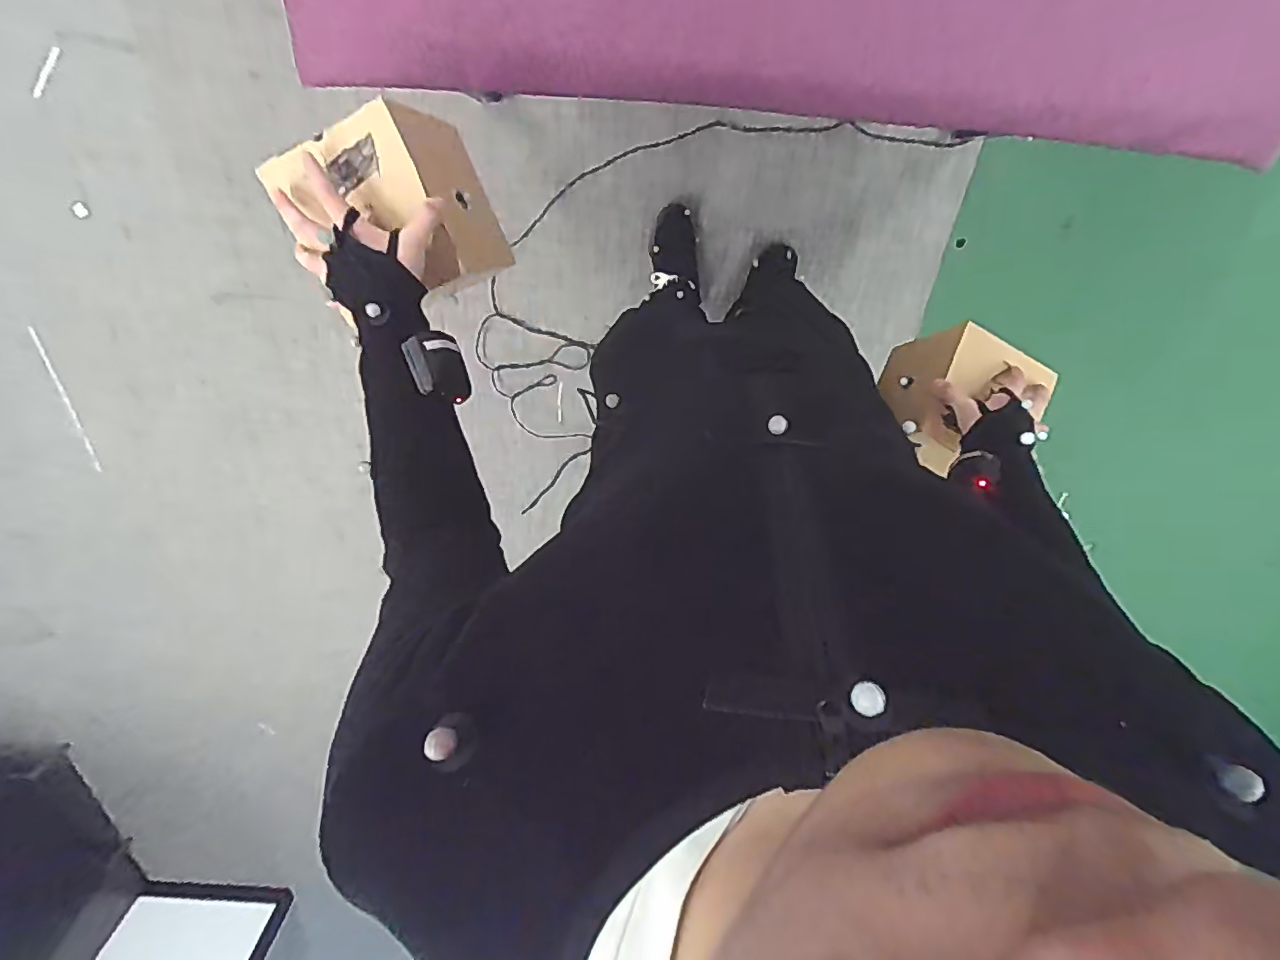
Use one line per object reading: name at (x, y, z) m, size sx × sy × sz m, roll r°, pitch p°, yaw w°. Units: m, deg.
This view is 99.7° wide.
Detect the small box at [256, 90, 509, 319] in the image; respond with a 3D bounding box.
small box at (-0.282, -0.310, 0.636) m, size 0.168 × 0.176 × 0.179 m, roll -17°, pitch 112°, yaw 15°
